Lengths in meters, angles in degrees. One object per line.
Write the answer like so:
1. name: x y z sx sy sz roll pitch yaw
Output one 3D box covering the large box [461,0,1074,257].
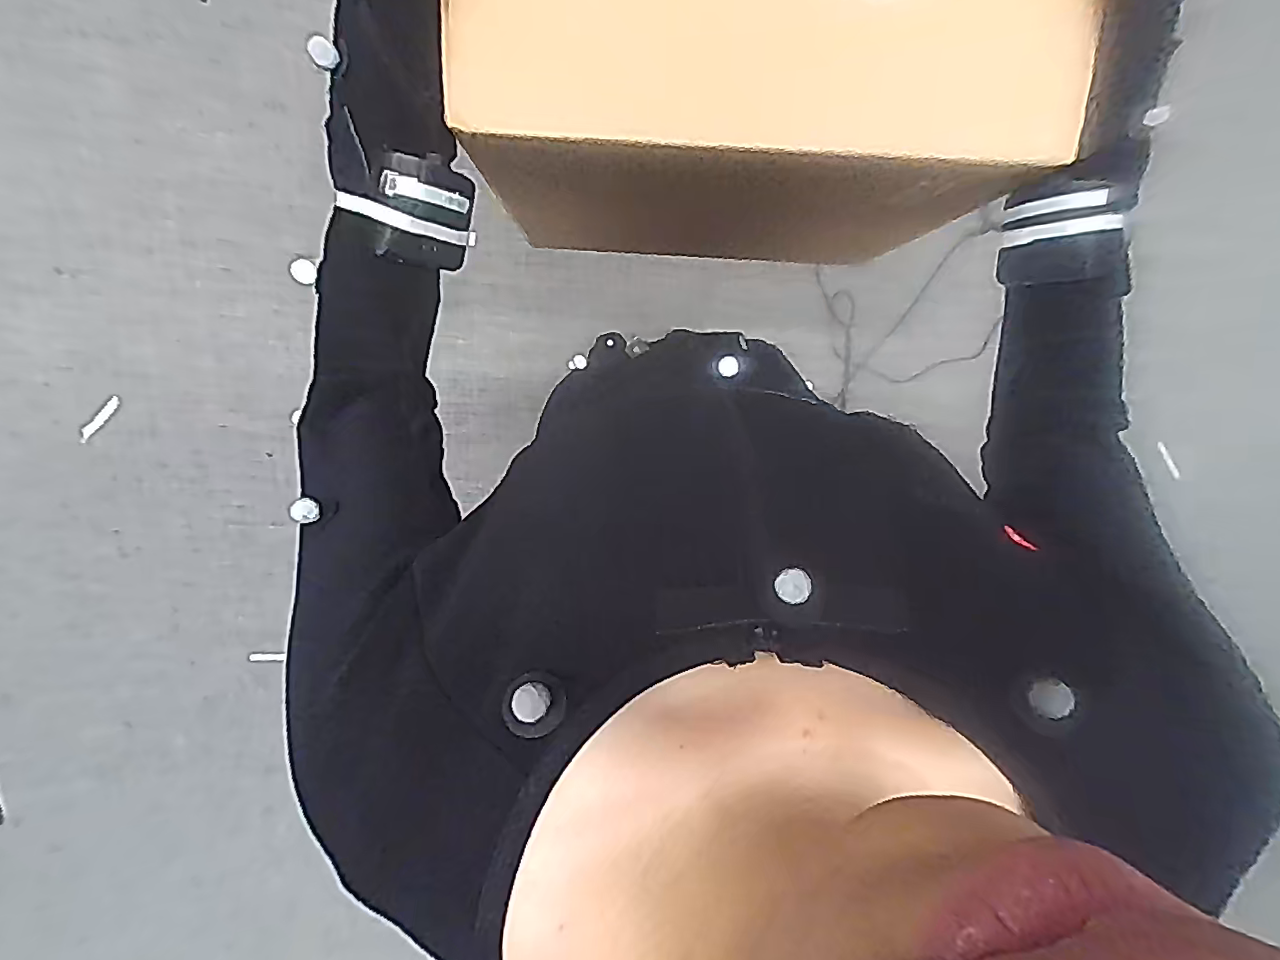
1. large box: 0.079 -0.398 0.481 0.408 0.320 0.320 1 100 -3
